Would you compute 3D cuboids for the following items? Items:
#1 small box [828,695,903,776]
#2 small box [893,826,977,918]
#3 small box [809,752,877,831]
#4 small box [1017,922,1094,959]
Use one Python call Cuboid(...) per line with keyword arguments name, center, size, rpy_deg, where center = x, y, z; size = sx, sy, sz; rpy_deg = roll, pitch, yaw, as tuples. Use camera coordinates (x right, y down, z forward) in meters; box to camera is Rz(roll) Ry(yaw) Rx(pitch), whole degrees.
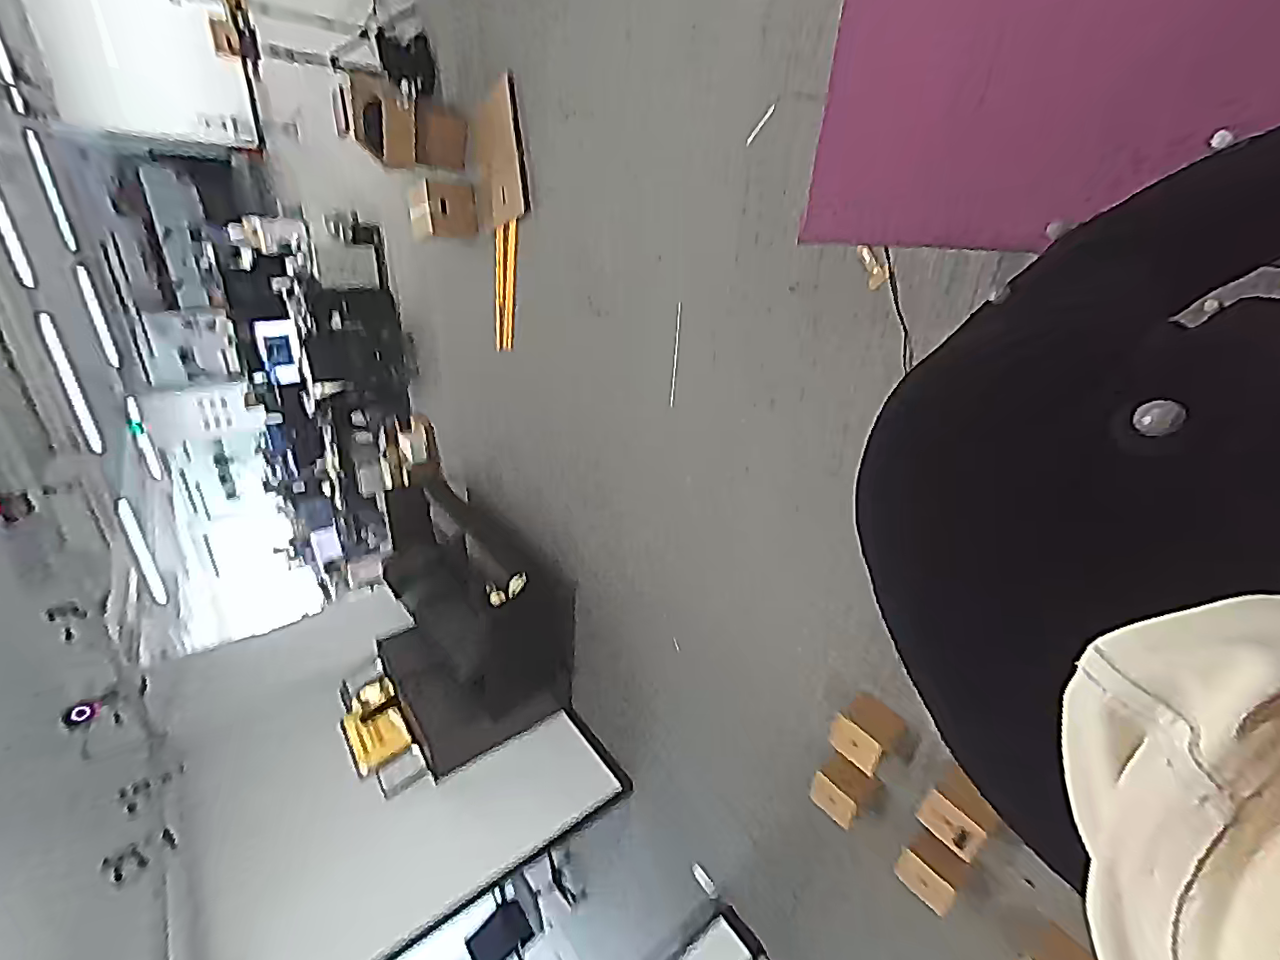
Cuboid(name="small box", center=(0.826, 0.926, 1.976), size=(0.179, 0.176, 0.168), rpy_deg=(31, 128, 44))
Cuboid(name="small box", center=(1.023, 1.346, 1.877), size=(0.179, 0.176, 0.168), rpy_deg=(32, 128, 43))
Cuboid(name="small box", center=(0.799, 1.214, 2.122), size=(0.179, 0.176, 0.168), rpy_deg=(31, 127, 44))
Cuboid(name="small box", center=(1.257, 1.497, 1.621), size=(0.179, 0.176, 0.168), rpy_deg=(34, 129, 41))
